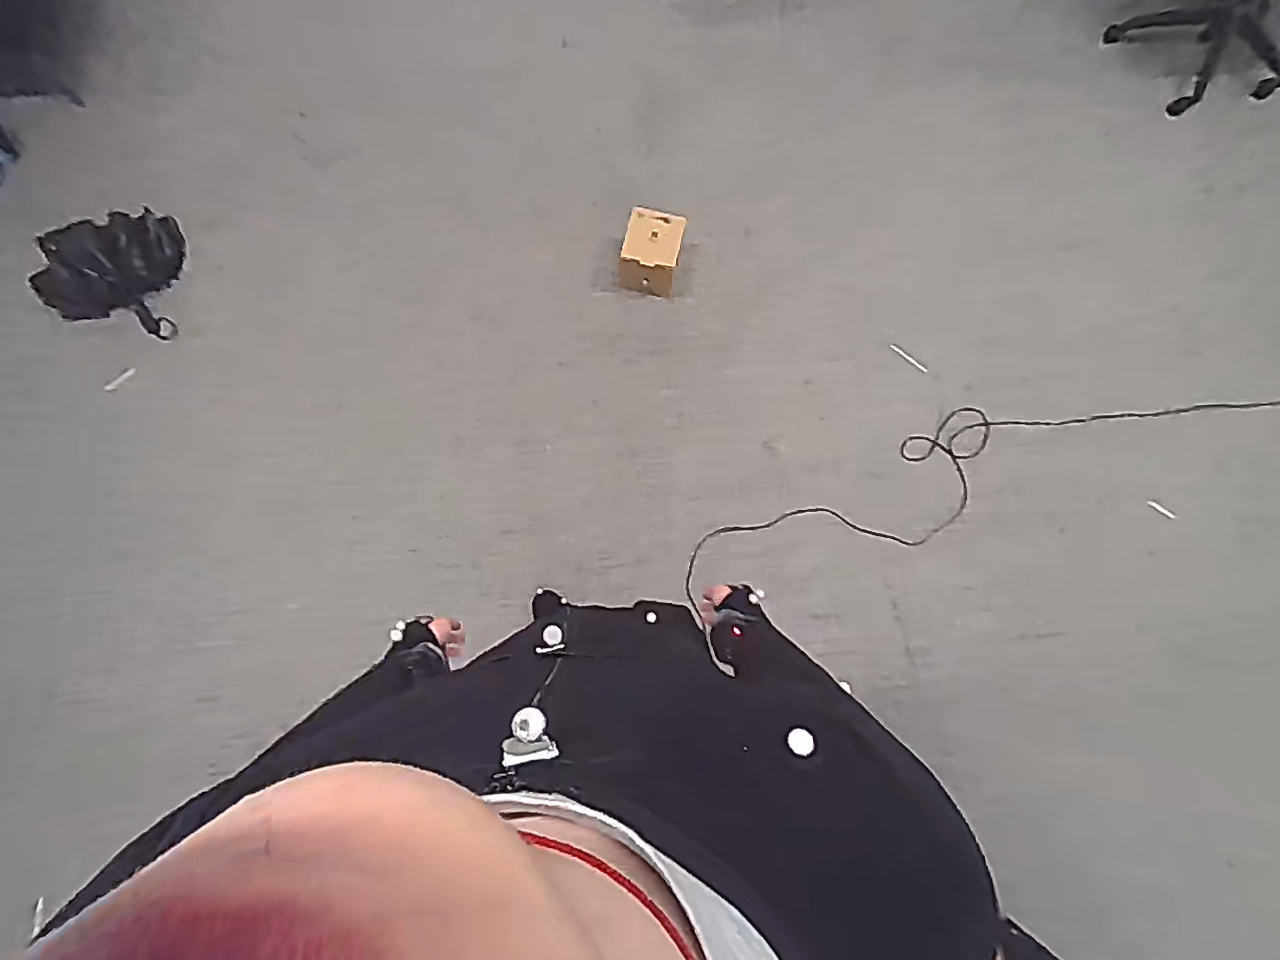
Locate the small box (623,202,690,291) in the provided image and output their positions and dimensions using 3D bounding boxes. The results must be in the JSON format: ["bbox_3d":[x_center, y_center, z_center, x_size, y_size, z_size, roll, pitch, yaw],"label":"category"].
[{"bbox_3d":[0.049,-0.710,1.661,0.168,0.176,0.179,13,80,2],"label":"small box"}]
